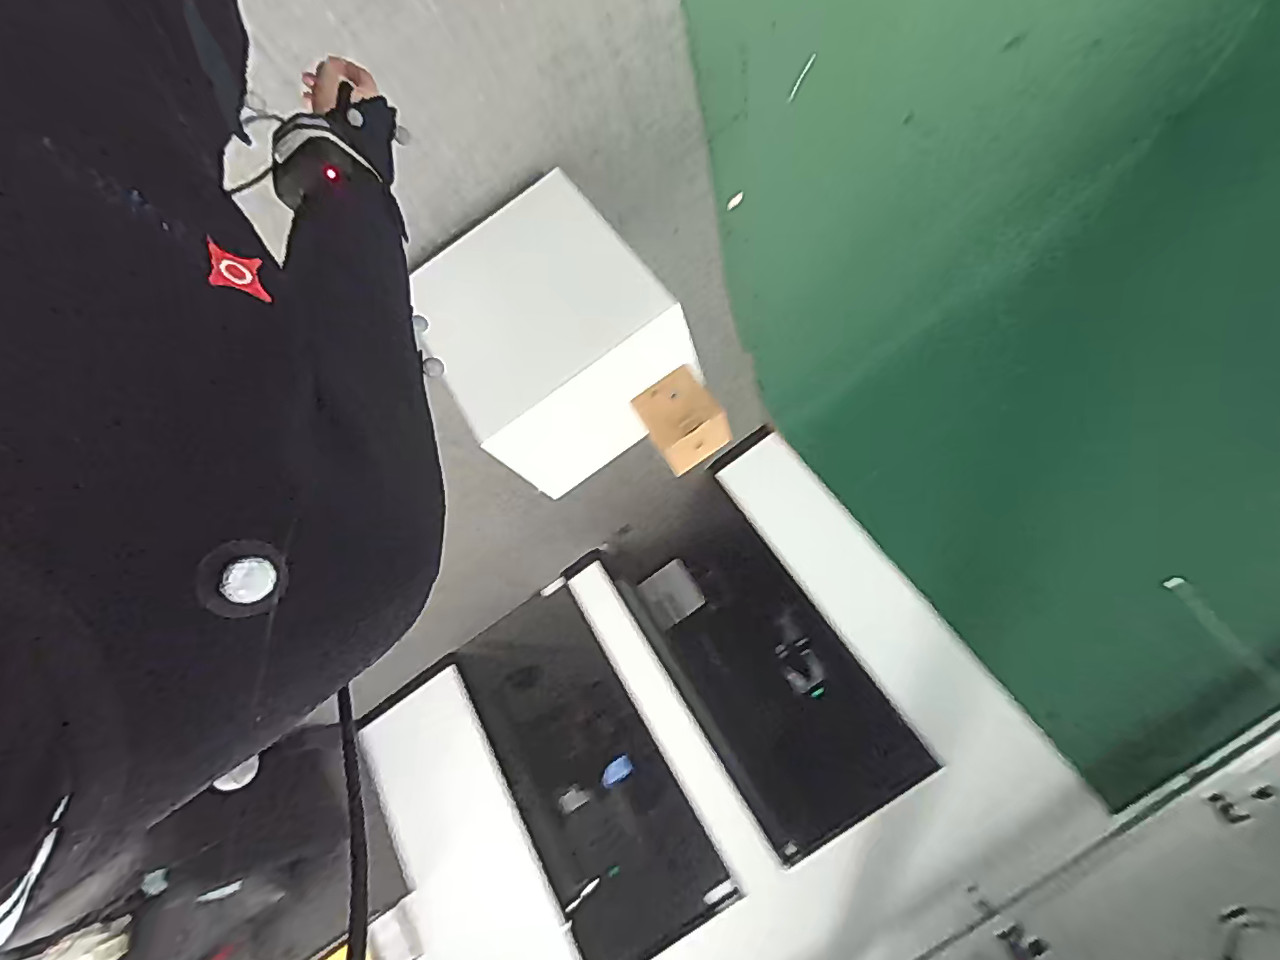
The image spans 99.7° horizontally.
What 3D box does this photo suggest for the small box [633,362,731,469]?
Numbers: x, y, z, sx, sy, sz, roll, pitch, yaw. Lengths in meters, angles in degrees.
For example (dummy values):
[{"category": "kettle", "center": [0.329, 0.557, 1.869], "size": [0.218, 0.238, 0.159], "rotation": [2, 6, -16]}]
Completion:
[{"category": "small box", "center": [0.107, -0.161, 1.350], "size": [0.168, 0.176, 0.179], "rotation": [-35, 155, 2]}]
